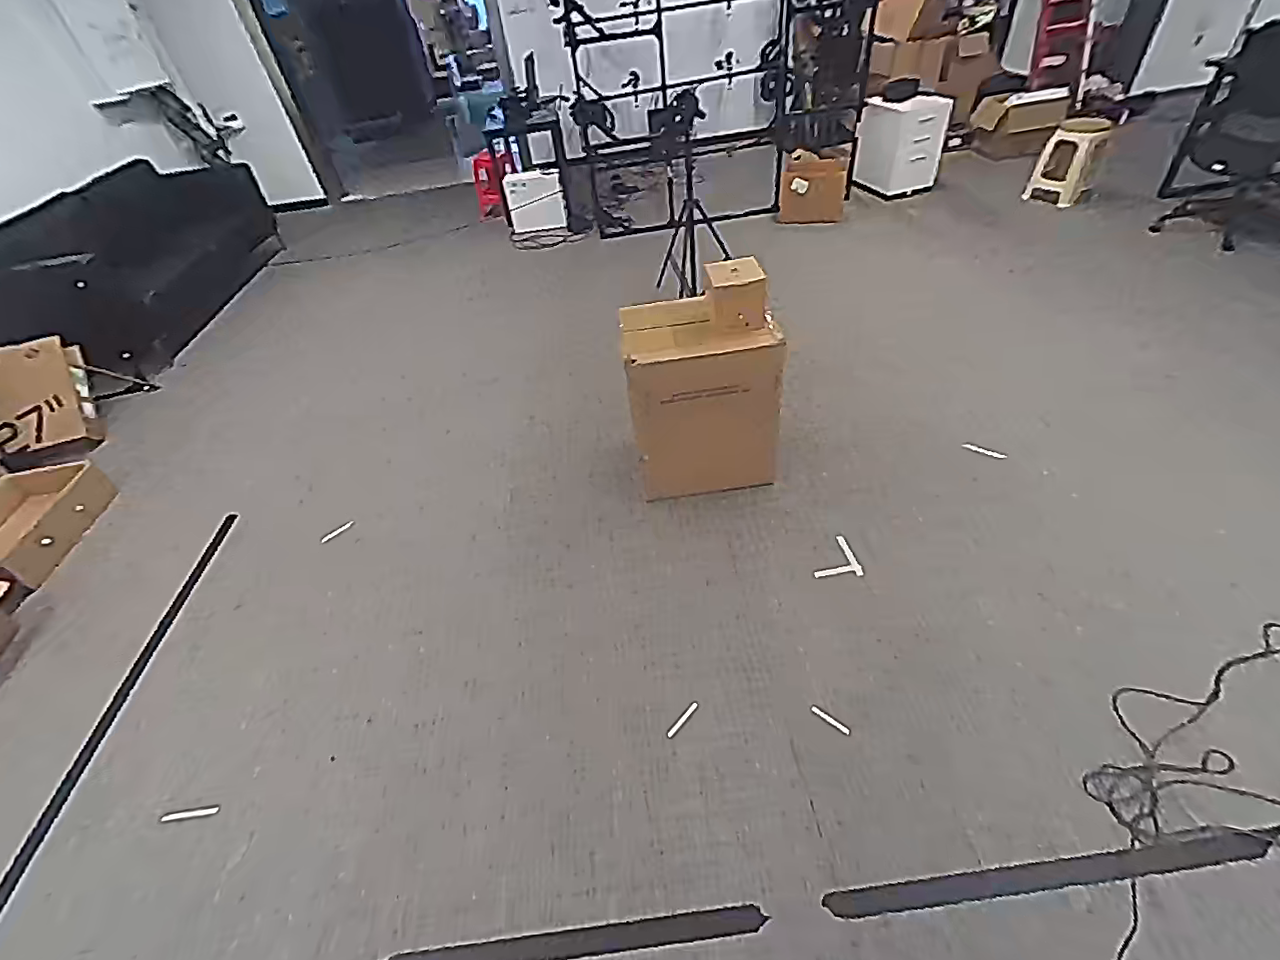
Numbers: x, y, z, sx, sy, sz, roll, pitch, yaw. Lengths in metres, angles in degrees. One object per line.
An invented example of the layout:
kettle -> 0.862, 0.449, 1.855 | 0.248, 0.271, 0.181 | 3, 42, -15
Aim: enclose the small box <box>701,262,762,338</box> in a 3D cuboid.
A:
small box -> 0.298, -0.594, 1.787 | 0.168, 0.176, 0.179 | -9, 44, 1
